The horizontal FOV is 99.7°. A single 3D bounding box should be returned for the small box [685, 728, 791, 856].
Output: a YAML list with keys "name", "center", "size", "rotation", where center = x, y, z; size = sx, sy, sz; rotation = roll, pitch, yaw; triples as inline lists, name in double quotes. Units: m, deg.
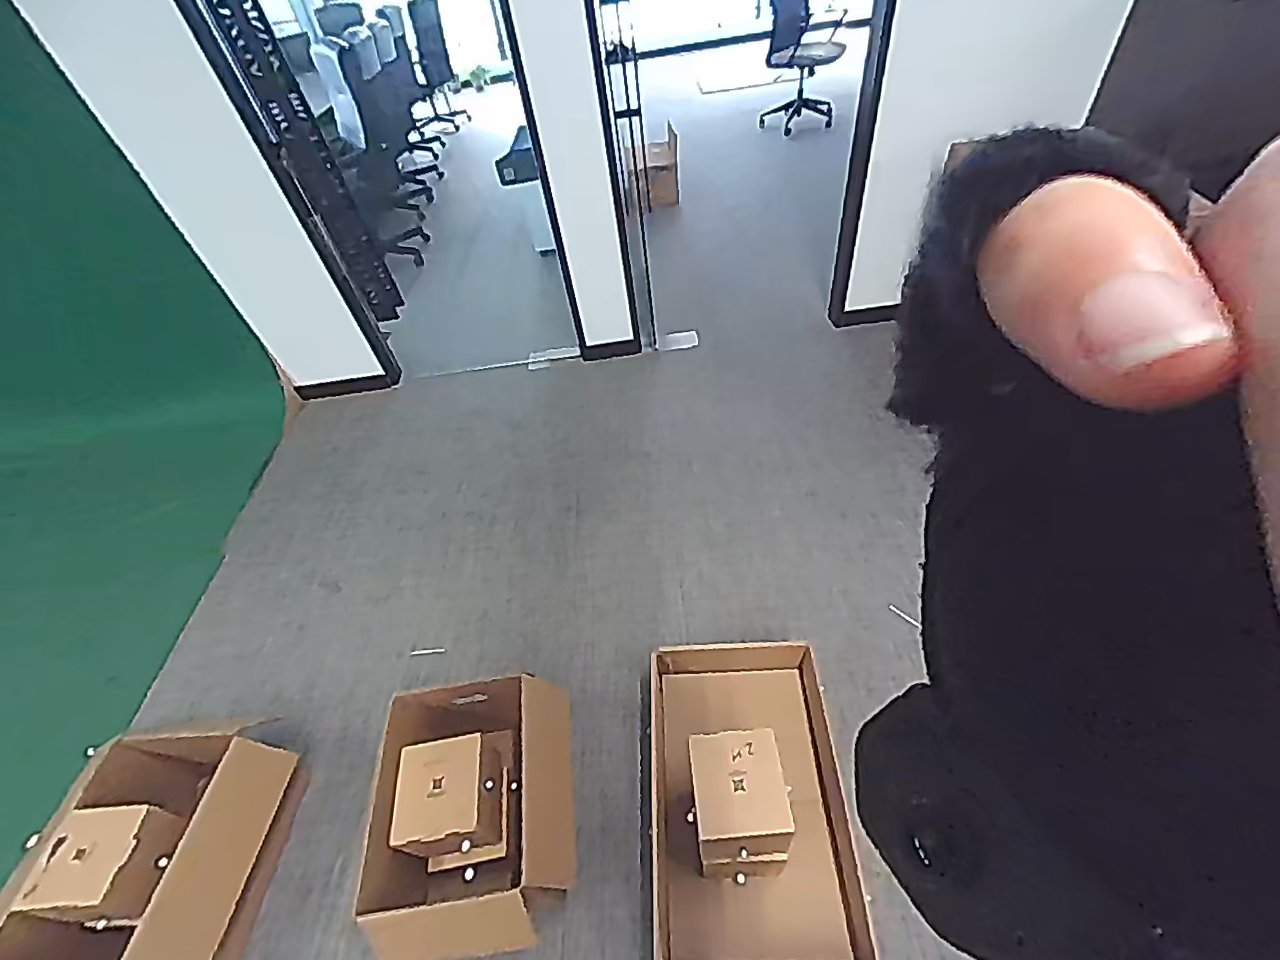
- name: "small box"
  center: [0.181, 0.599, 1.032]
  size: [0.168, 0.176, 0.179]
  rotation: [-6, 45, 1]

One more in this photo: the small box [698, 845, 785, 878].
- name: "small box"
  center: [0.202, 0.719, 1.143]
  size: [0.168, 0.176, 0.179]
  rotation: [-5, 45, 4]

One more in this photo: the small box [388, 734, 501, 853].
- name: "small box"
  center: [-0.390, 0.650, 1.113]
  size: [0.168, 0.176, 0.179]
  rotation: [-10, 48, -2]
